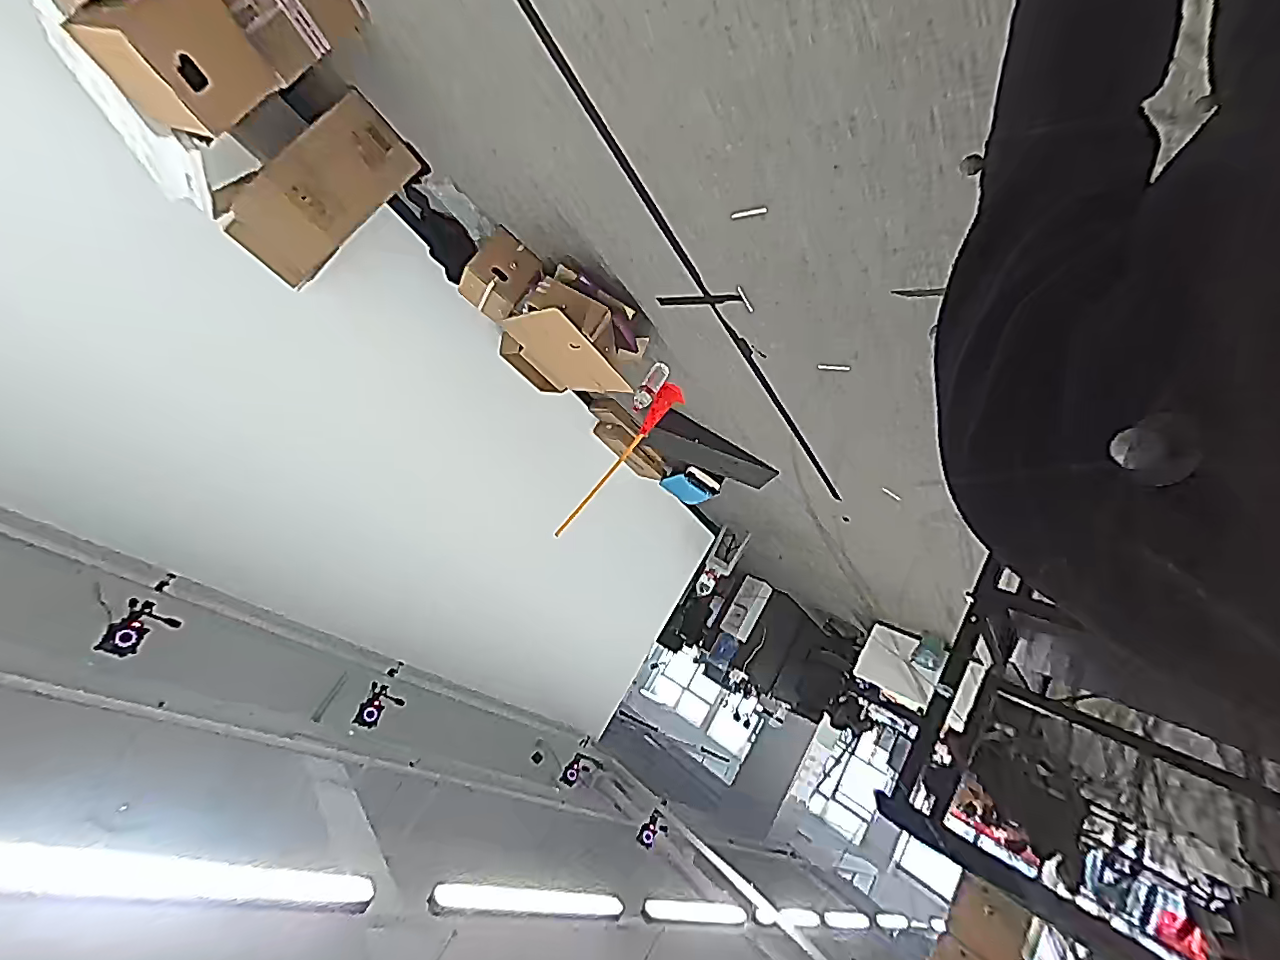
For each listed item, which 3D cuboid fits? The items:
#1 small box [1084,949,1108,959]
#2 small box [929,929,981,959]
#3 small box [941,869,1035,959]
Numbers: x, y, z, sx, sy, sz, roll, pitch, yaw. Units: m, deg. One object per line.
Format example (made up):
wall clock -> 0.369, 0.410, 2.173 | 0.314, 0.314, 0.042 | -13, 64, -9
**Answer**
small box -> 1.124, 1.245, 1.260 | 0.168, 0.176, 0.179 | 18, 163, 47
small box -> 0.860, 1.325, 1.425 | 0.168, 0.176, 0.179 | 18, 161, 45
small box -> 0.944, 1.189, 1.461 | 0.168, 0.176, 0.179 | 16, 160, 45
